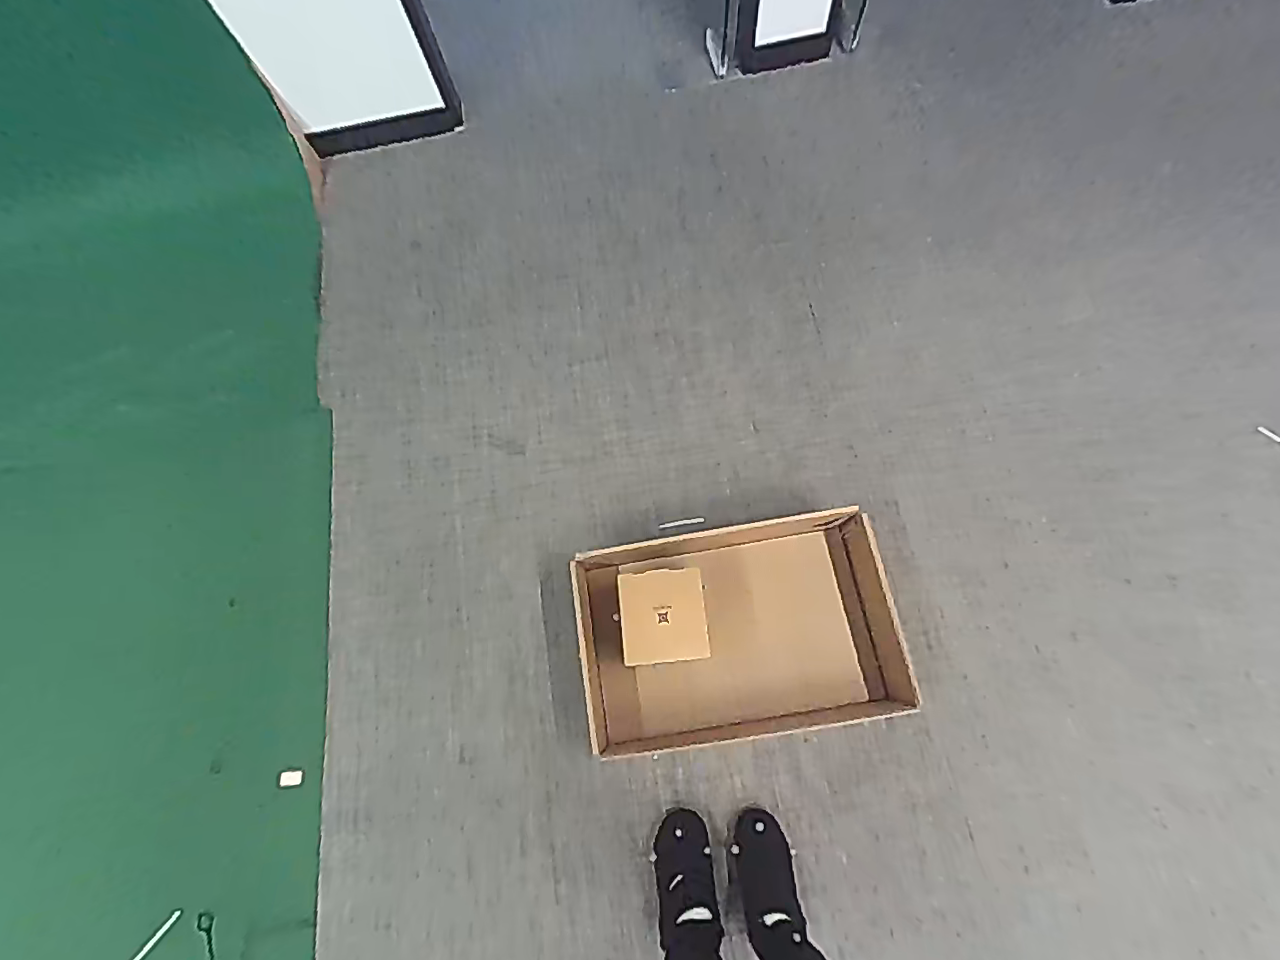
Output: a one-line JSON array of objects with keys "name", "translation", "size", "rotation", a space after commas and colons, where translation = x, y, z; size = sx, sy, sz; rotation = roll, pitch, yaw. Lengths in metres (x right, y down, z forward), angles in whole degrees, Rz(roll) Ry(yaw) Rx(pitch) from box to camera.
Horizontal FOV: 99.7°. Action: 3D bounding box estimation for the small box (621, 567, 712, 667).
[{"name": "small box", "translation": [0.055, 0.285, 1.117], "size": [0.168, 0.176, 0.179], "rotation": [-6, 72, 2]}]
